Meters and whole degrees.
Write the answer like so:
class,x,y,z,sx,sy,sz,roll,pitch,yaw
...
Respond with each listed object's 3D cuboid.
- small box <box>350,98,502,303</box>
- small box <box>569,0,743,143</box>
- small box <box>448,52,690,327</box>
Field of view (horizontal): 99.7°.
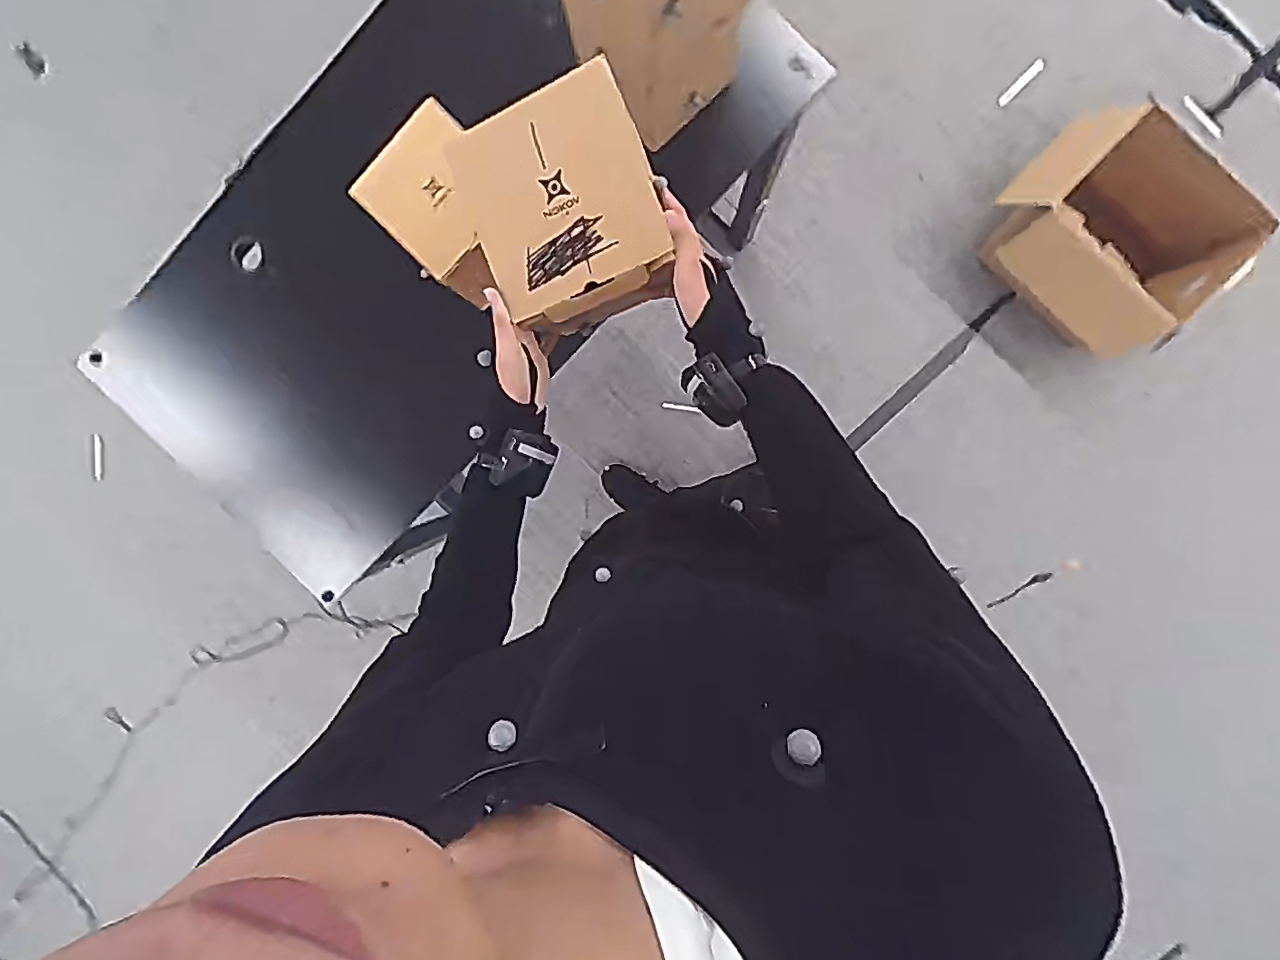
class,x,y,z,sx,sy,sz,roll,pitch,yaw
small box,-0.267,-0.389,0.791,0.179,0.176,0.168,44,96,-1
small box,0.019,-0.625,0.753,0.168,0.176,0.179,-40,92,7
small box,-0.054,-0.266,0.550,0.168,0.176,0.179,-19,98,13
